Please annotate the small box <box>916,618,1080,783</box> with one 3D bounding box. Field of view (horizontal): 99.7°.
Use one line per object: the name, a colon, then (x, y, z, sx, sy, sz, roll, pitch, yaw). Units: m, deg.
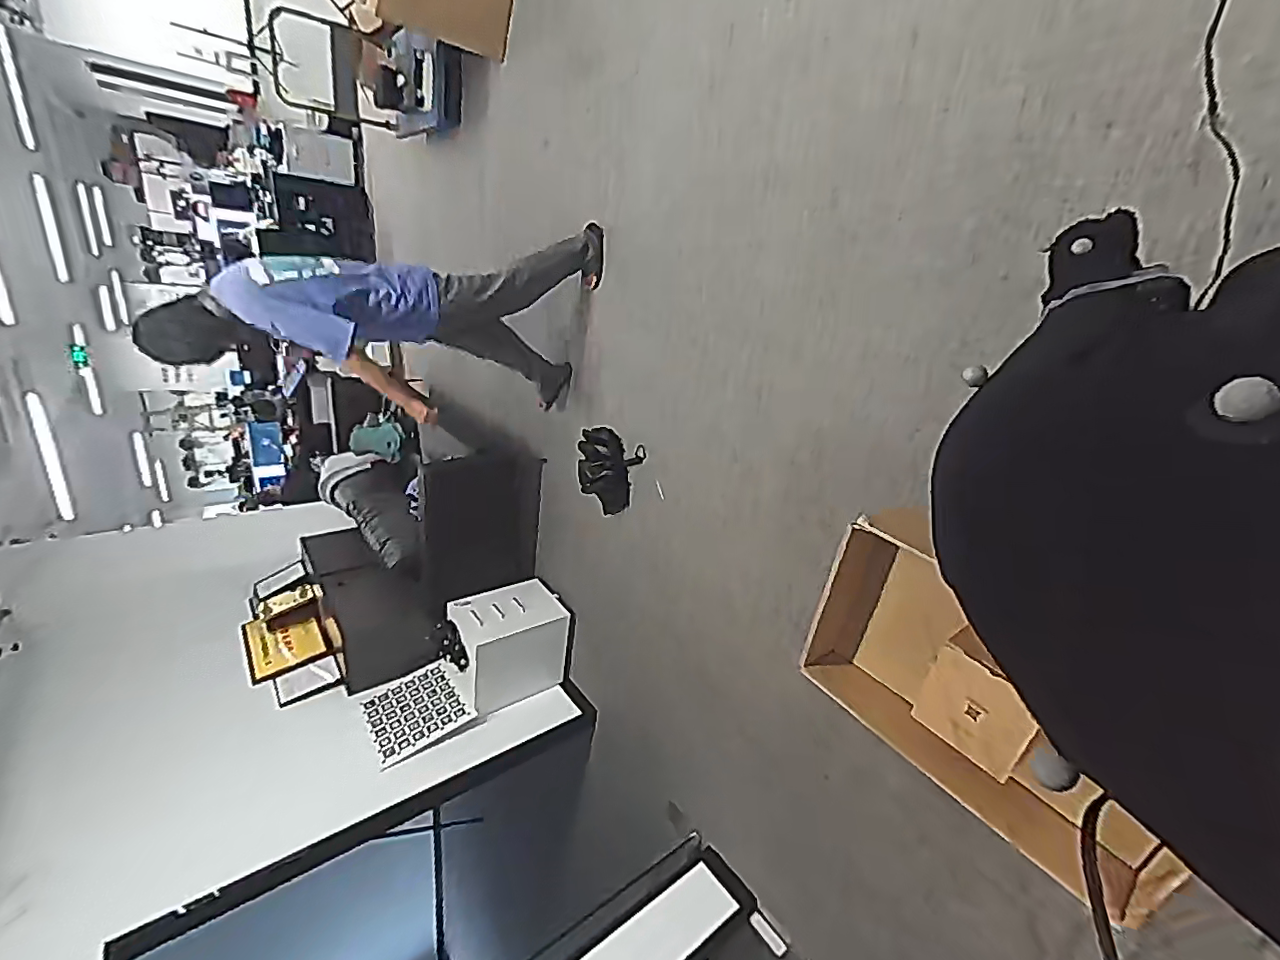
small box: (0.627, 0.371, 0.946, 0.168, 0.176, 0.179, 34, 126, 45)
